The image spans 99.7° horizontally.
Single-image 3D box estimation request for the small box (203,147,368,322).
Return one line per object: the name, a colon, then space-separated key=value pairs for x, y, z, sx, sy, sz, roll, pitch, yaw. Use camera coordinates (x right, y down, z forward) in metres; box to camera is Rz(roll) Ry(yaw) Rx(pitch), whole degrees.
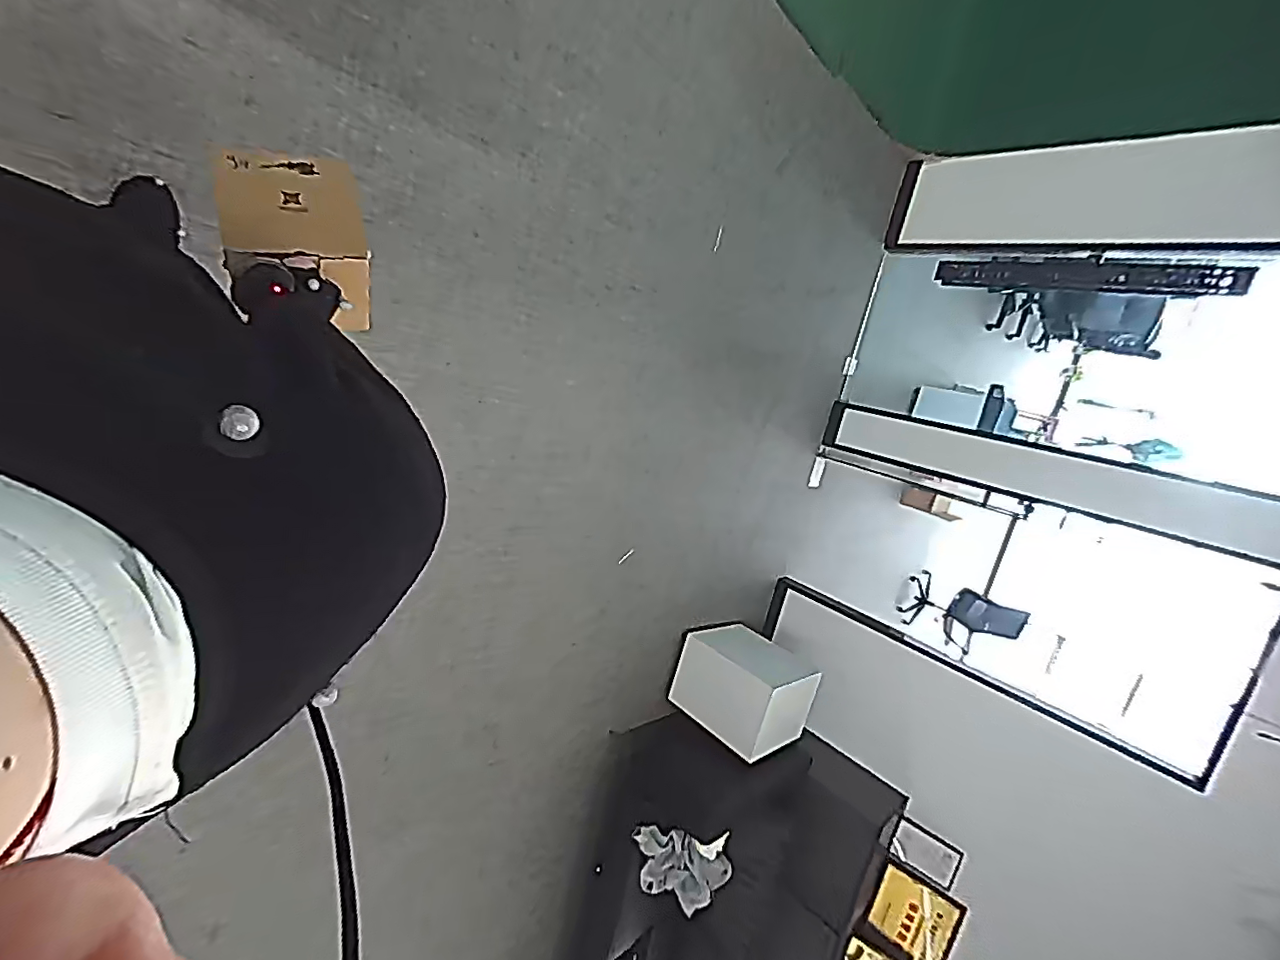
small box: x=-0.511 y=-0.350 z=0.801 sx=0.168 sy=0.176 sz=0.179 roll=-13 pitch=76 yaw=-28
